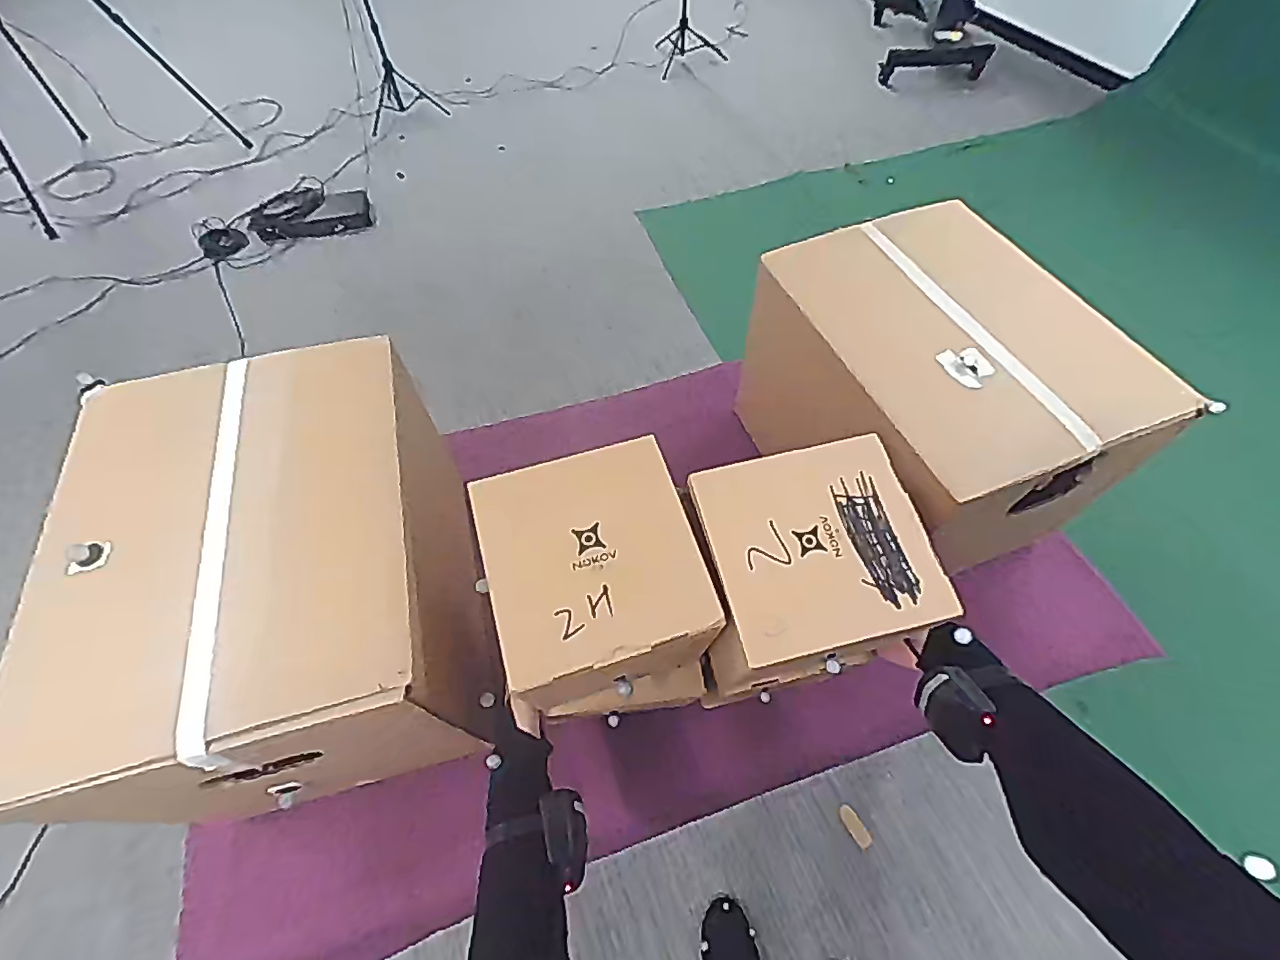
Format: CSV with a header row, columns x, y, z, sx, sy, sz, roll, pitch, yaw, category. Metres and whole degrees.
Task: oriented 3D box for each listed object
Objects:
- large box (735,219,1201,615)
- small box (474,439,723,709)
x,y,z,sx,sy,sz,roll,pitch,yaw,category
0.372,-0.087,0.757,0.320,0.320,0.408,-19,59,-9,large box
-0.042,0.092,0.499,0.168,0.176,0.179,-15,63,-9,small box
